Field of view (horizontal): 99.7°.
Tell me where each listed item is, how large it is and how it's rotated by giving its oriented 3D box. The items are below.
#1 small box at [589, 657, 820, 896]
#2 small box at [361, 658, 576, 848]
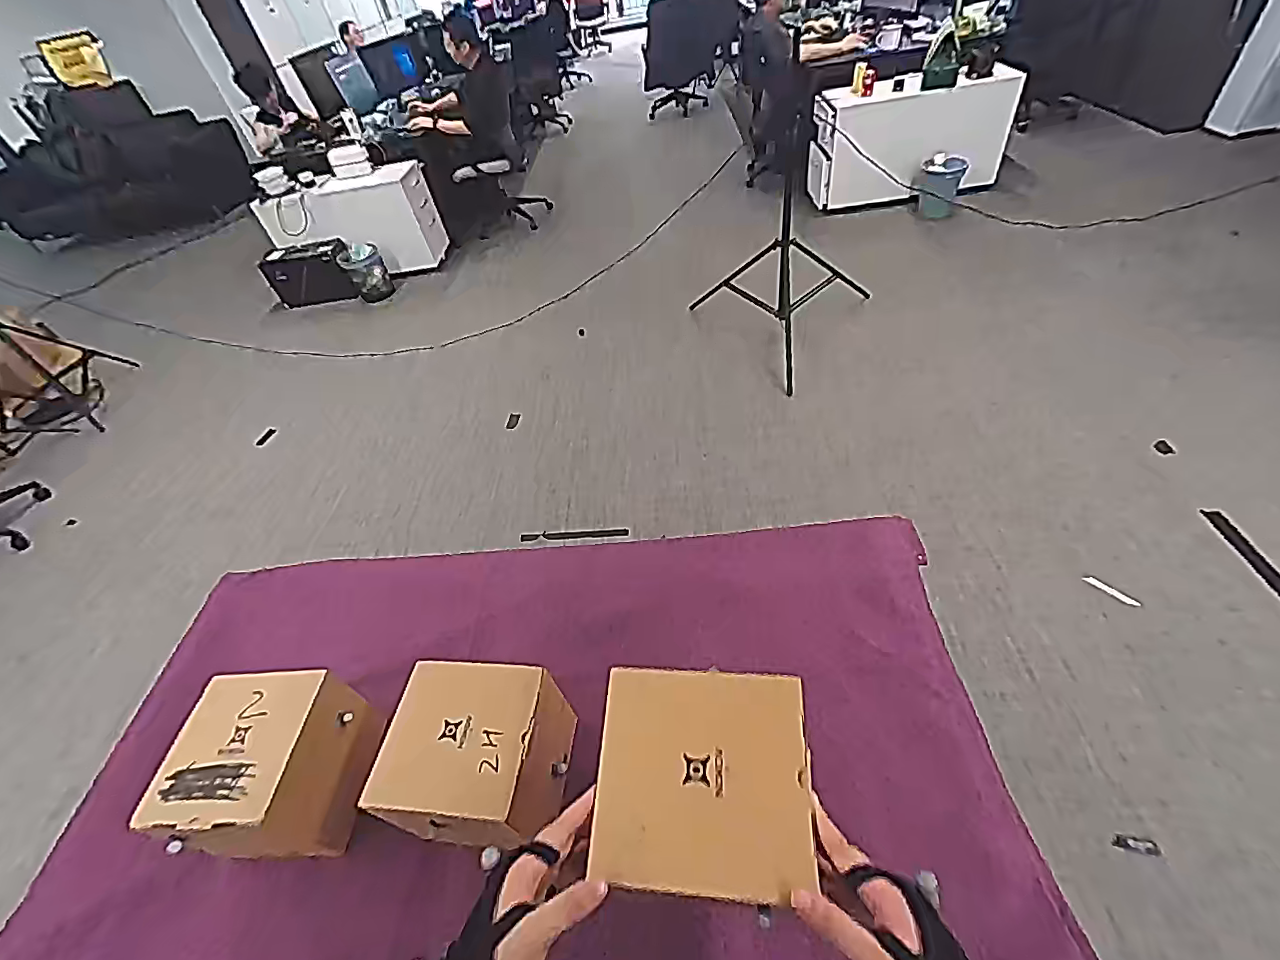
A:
[{"bbox_3d":[0.062,0.282,0.512,0.179,0.176,0.168,0,51,8],"label":"small box"},{"bbox_3d":[-0.195,0.339,0.673,0.179,0.176,0.168,0,47,11],"label":"small box"}]
